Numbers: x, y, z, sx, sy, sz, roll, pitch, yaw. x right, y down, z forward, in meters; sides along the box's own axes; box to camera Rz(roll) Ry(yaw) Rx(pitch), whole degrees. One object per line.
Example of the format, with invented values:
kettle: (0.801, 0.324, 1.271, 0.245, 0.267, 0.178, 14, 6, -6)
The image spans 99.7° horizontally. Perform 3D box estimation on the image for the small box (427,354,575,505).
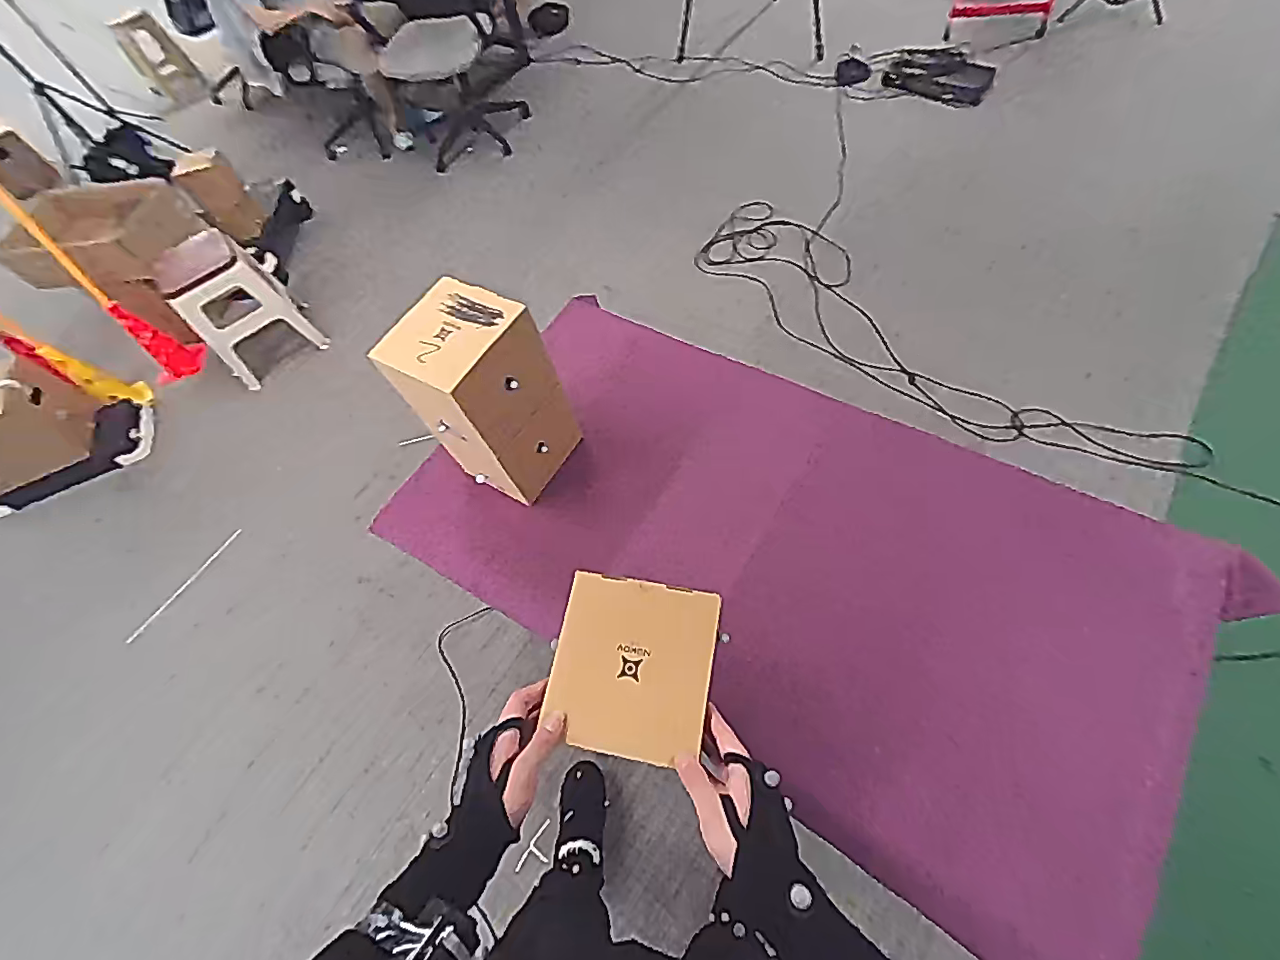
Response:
small box: (-0.234, -0.087, 0.970, 0.168, 0.176, 0.179, 25, 68, 22)
